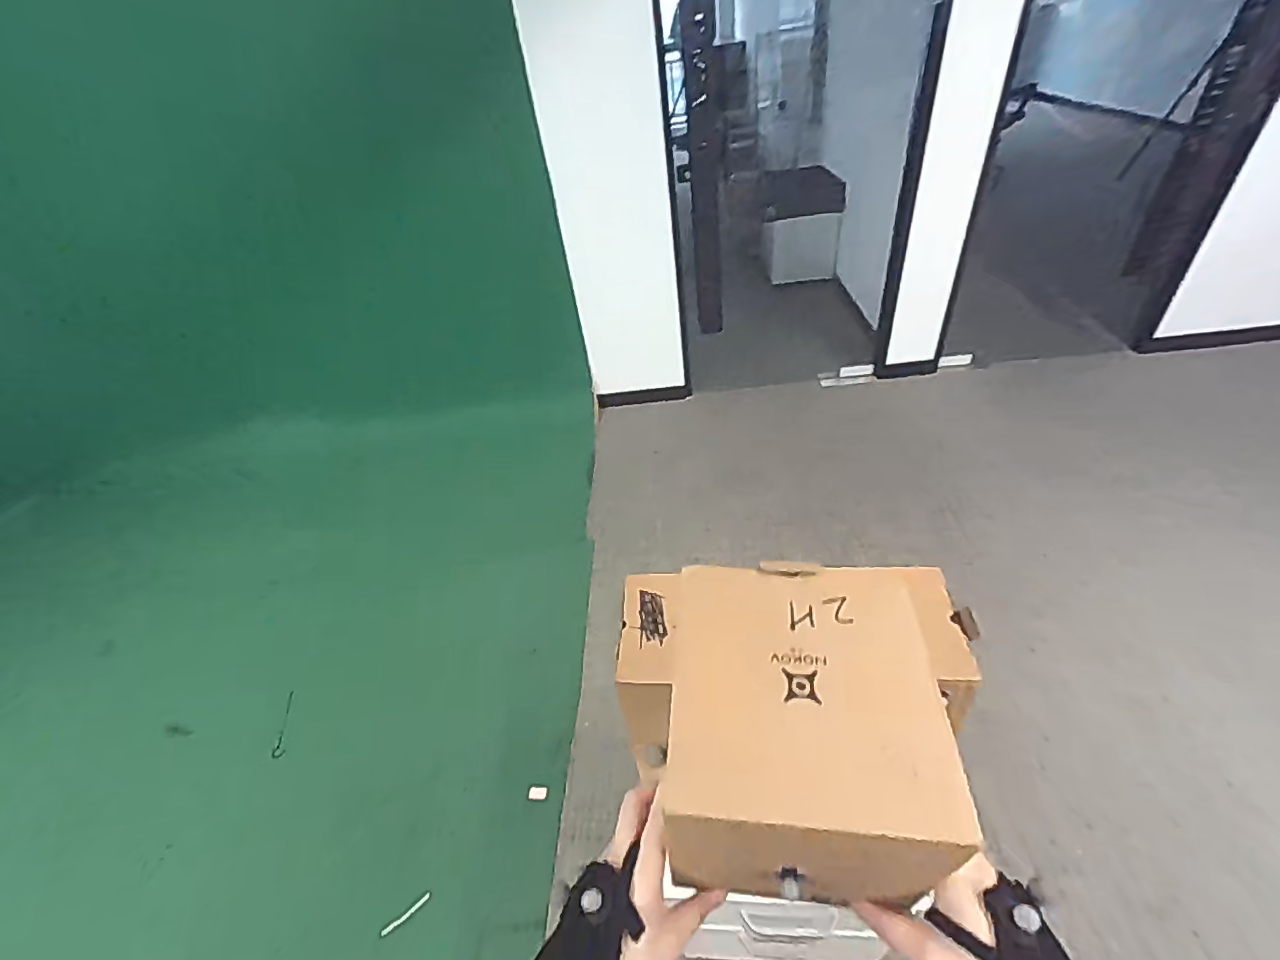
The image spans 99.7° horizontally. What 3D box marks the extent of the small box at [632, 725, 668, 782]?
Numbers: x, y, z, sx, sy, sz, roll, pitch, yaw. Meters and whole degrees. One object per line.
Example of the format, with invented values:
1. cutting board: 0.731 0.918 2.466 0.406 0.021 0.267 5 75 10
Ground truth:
1. small box: 0.090 0.362 0.848 0.179 0.176 0.168 -2 42 7

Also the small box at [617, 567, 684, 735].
1. small box: 0.071 0.236 0.742 0.179 0.176 0.168 -2 42 6

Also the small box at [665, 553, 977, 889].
1. small box: 0.110 0.177 0.402 0.168 0.176 0.179 2 43 7
